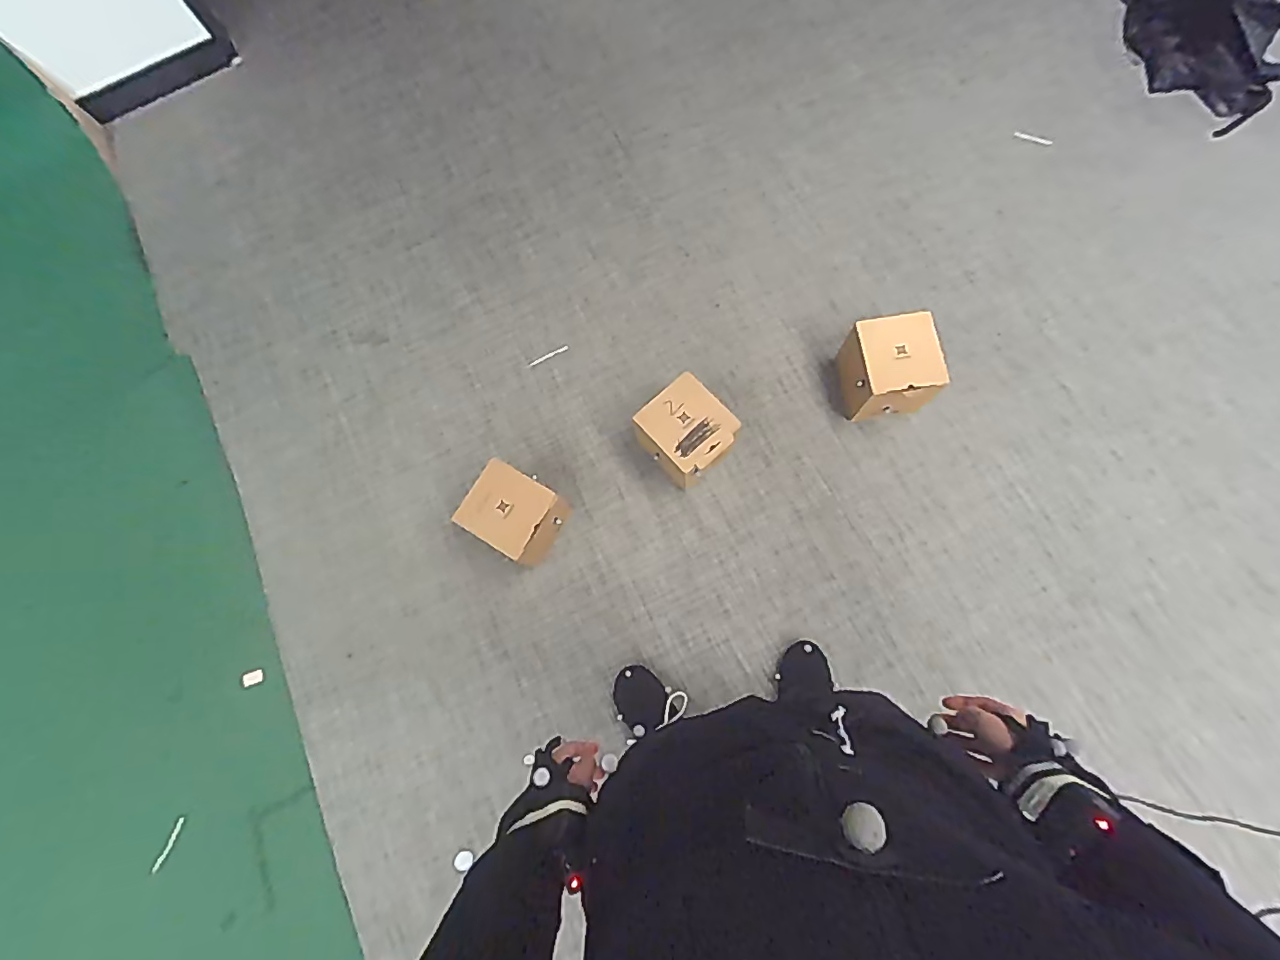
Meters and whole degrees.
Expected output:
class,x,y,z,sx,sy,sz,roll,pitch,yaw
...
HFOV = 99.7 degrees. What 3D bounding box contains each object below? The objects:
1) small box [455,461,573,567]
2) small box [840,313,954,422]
class,x,y,z,sx,sy,sz,roll,pitch,yaw
small box,-0.272,0.084,1.219,0.179,0.176,0.168,29,79,12
small box,0.573,-0.250,1.231,0.168,0.176,0.179,-8,76,2
